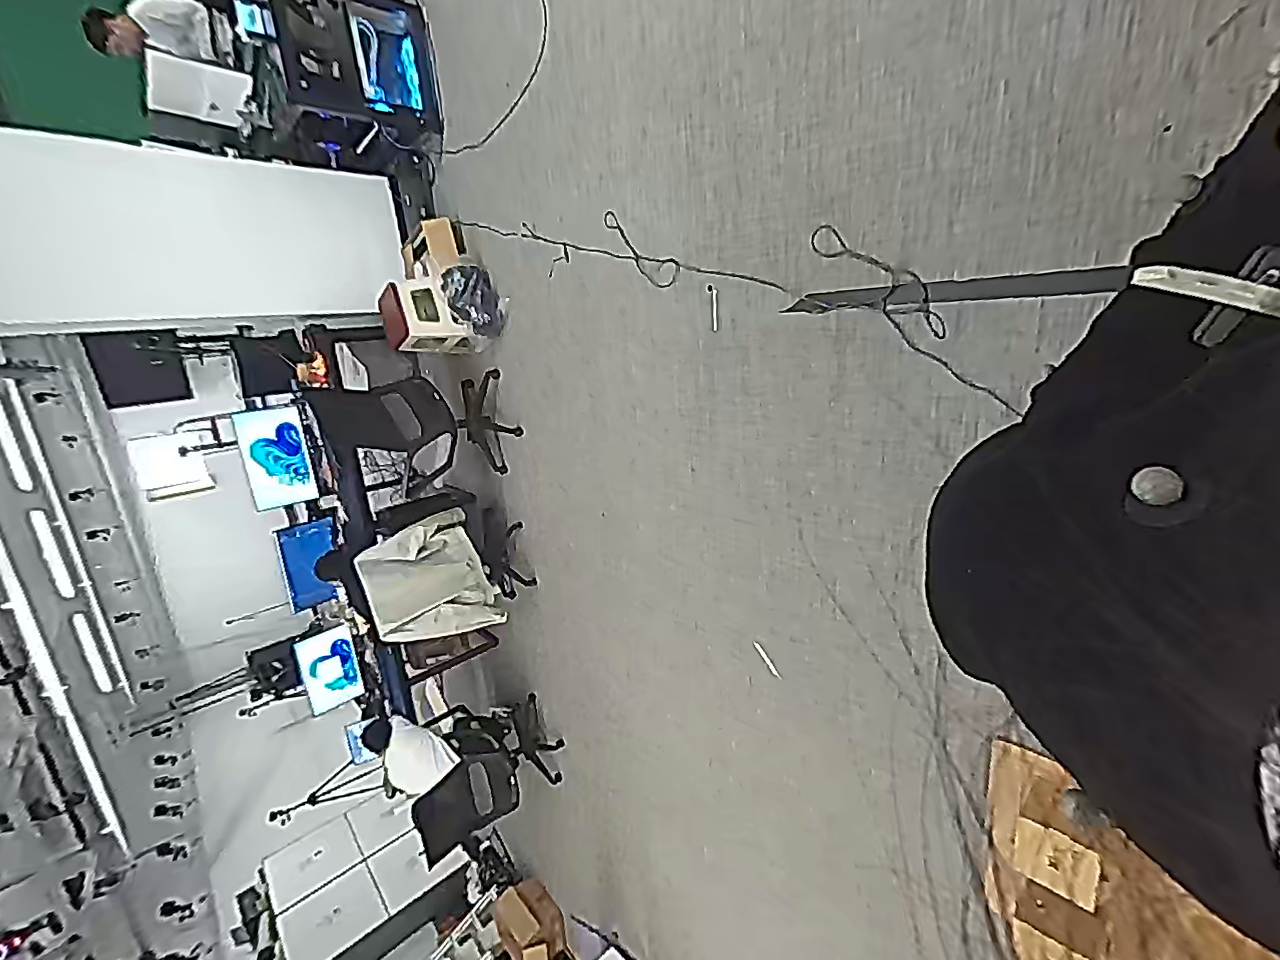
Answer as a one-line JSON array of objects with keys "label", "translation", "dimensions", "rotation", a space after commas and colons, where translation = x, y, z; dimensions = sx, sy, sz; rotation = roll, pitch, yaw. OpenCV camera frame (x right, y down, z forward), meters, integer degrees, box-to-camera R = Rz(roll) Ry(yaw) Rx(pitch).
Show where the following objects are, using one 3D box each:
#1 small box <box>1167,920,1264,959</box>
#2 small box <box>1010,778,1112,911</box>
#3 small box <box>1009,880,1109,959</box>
[{"label": "small box", "translation": [1.281, 1.127, 1.172], "dimensions": [0.179, 0.176, 0.168], "rotation": [22, 119, 42]}, {"label": "small box", "translation": [1.056, 0.902, 1.355], "dimensions": [0.168, 0.176, 0.179], "rotation": [12, 111, 46]}, {"label": "small box", "translation": [1.099, 1.201, 1.419], "dimensions": [0.179, 0.176, 0.168], "rotation": [5, 109, 49]}]
